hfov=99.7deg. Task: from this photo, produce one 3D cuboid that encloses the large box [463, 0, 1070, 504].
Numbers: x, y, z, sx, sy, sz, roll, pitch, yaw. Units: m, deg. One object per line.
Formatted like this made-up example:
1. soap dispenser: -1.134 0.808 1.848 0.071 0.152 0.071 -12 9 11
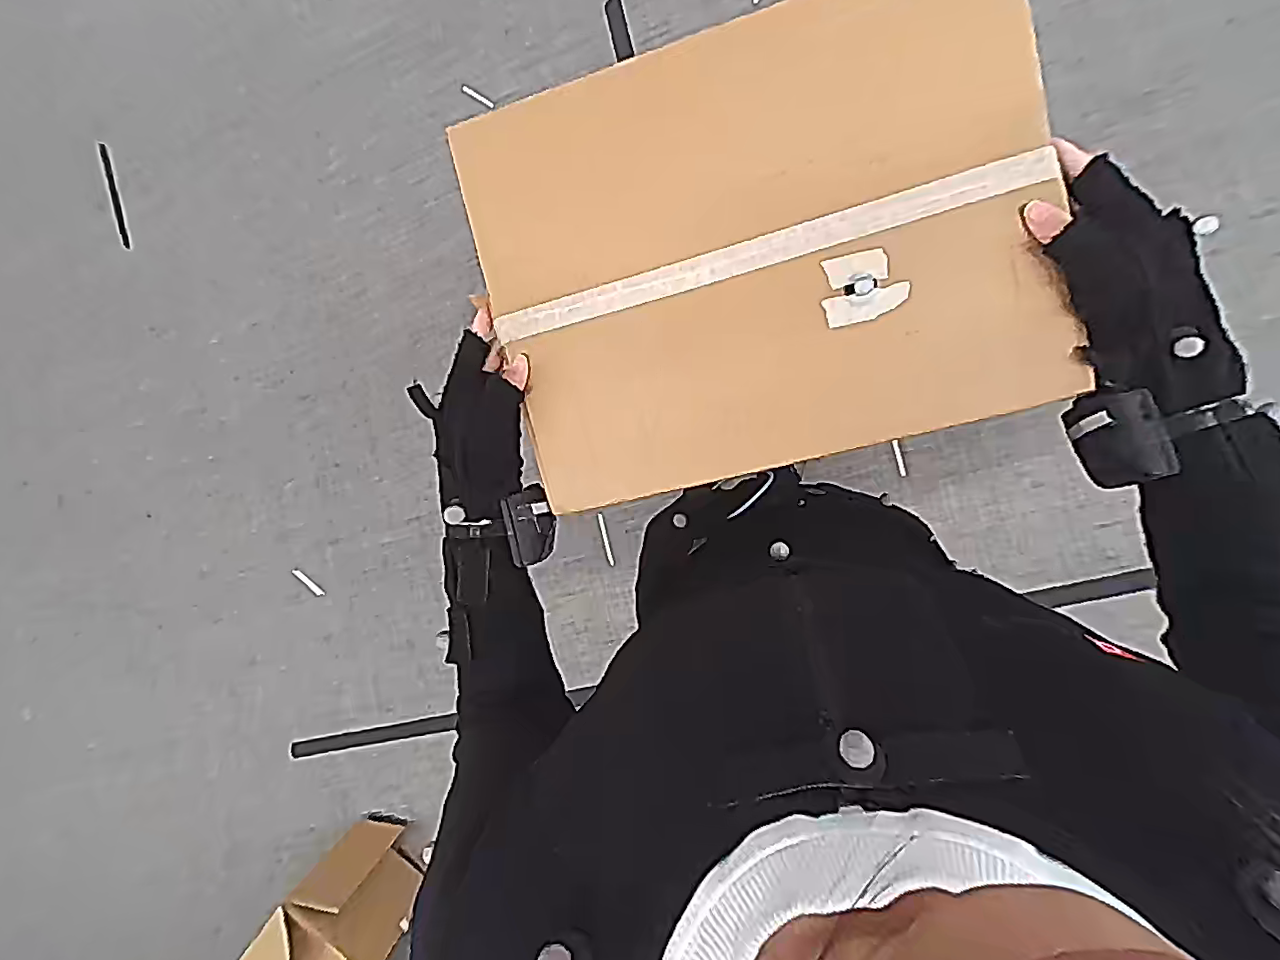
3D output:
1. large box: 0.103 -0.191 0.555 0.408 0.320 0.320 -14 96 9
